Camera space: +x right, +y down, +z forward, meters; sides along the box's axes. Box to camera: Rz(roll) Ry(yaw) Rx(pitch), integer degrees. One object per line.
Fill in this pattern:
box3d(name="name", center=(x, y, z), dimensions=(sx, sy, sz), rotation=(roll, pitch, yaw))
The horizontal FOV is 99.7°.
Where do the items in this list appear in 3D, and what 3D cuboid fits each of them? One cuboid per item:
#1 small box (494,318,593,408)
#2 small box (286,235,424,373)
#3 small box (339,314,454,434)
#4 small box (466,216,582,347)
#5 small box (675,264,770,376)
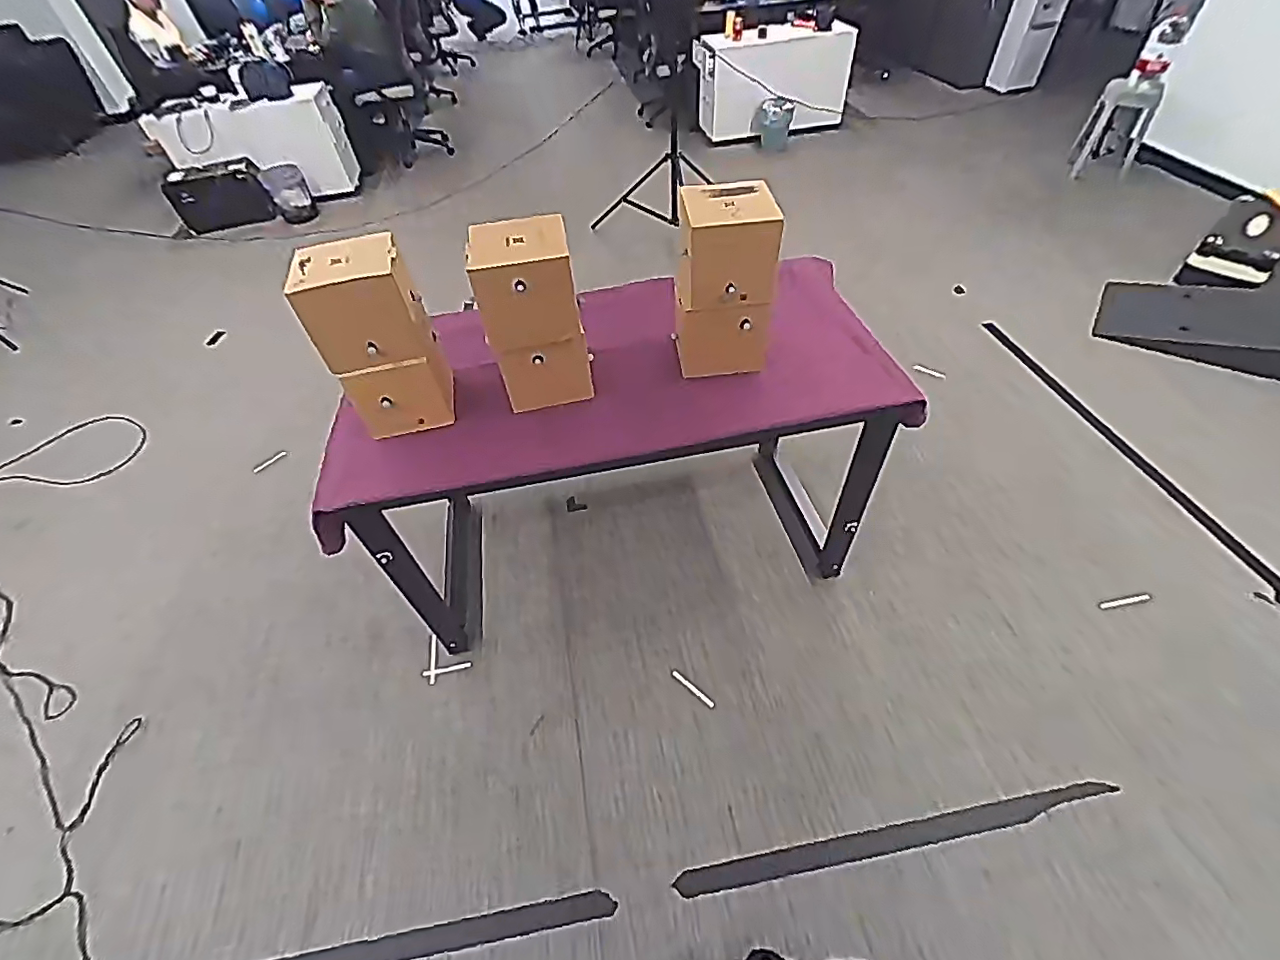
box3d(name="small box", center=(-0.205, -0.272, 1.146), dimensions=(0.179, 0.176, 0.168), rotation=(-12, 50, -6))
box3d(name="small box", center=(-0.510, -0.324, 1.001), dimensions=(0.179, 0.176, 0.168), rotation=(-14, 49, -8))
box3d(name="small box", center=(-0.493, -0.213, 1.121), dimensions=(0.168, 0.176, 0.179), rotation=(-13, 49, -7))
box3d(name="small box", center=(-0.214, -0.367, 1.015), dimensions=(0.179, 0.176, 0.168), rotation=(-9, 51, -5))
box3d(name="small box", center=(0.170, -0.344, 1.176), dimensions=(0.179, 0.176, 0.168), rotation=(-6, 48, 0))
